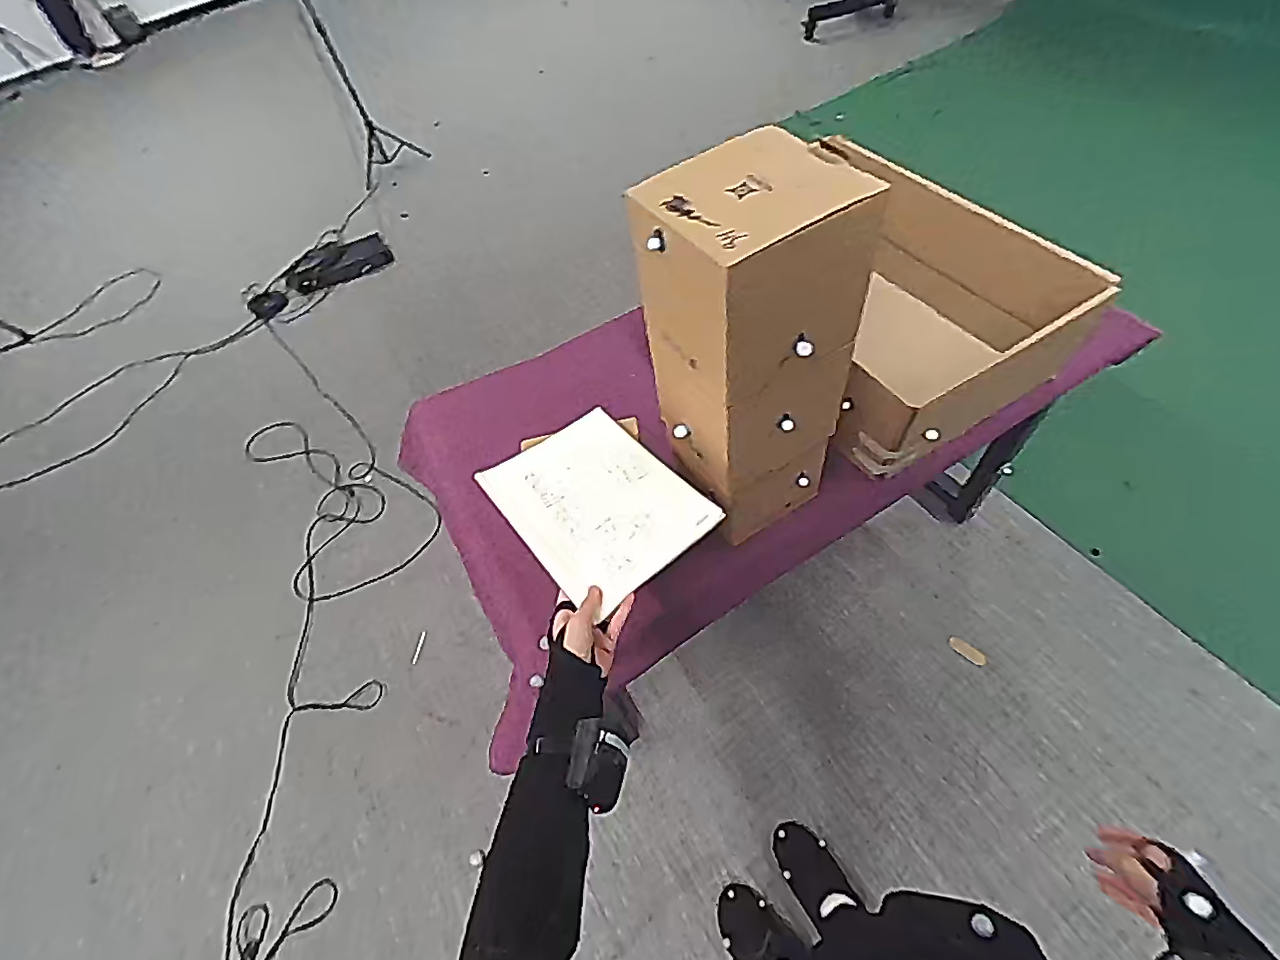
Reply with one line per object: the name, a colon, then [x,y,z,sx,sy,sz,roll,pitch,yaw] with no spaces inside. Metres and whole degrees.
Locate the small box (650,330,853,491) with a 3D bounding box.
small box: [0.133,-0.120,0.685,0.179,0.176,0.168,-29,55,-10]

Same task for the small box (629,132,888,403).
small box: [0.110,-0.213,0.552,0.179,0.176,0.168,-29,55,-11]
